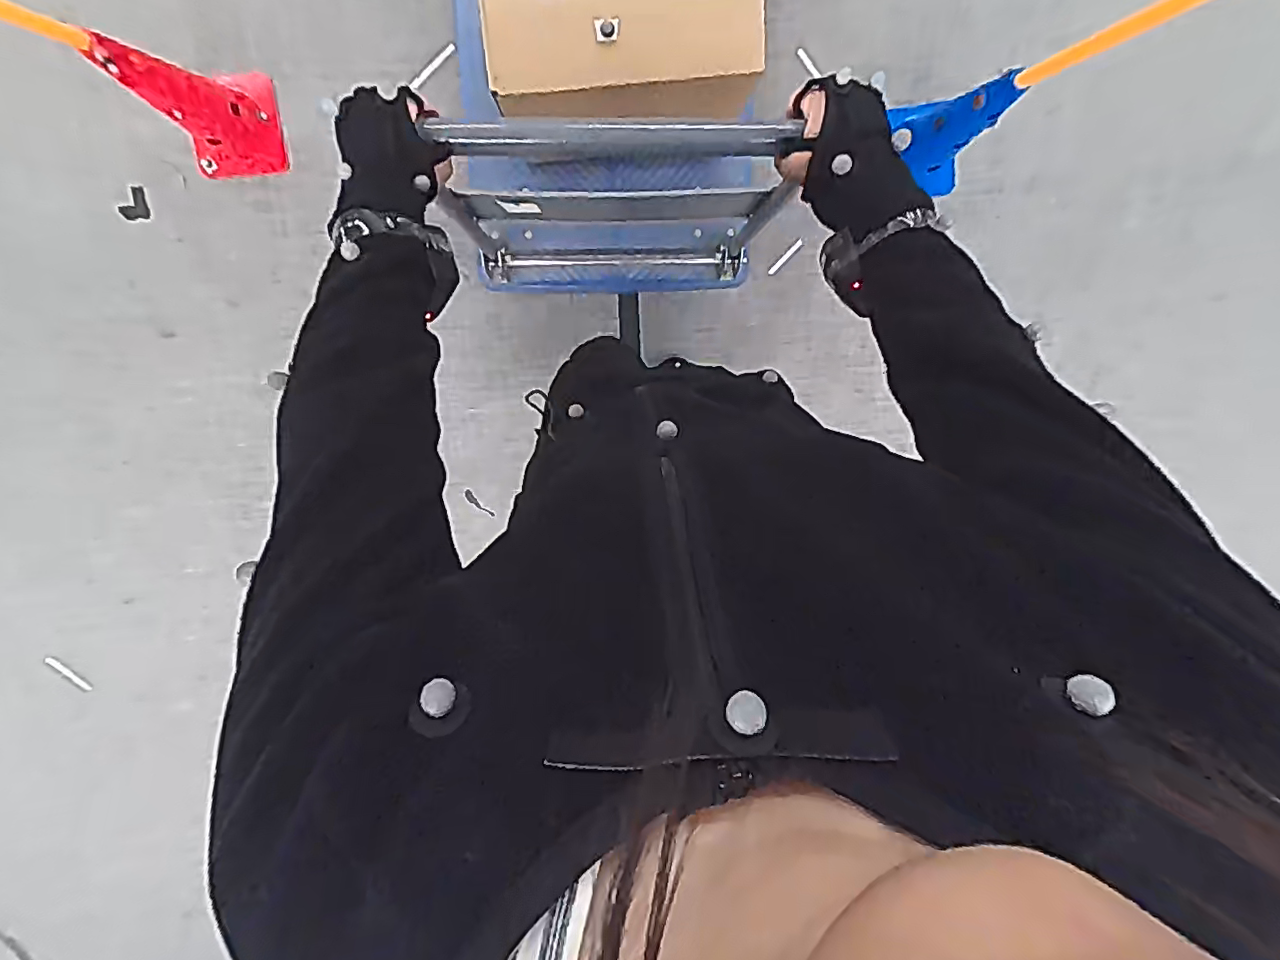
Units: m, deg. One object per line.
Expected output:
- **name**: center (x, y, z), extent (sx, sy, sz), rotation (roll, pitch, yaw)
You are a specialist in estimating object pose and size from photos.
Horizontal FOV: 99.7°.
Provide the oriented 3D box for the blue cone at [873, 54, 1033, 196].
- **blue cone**: center (0.649, -0.737, 1.104), extent (0.193, 0.380, 0.192), rotation (-7, 103, -1)
